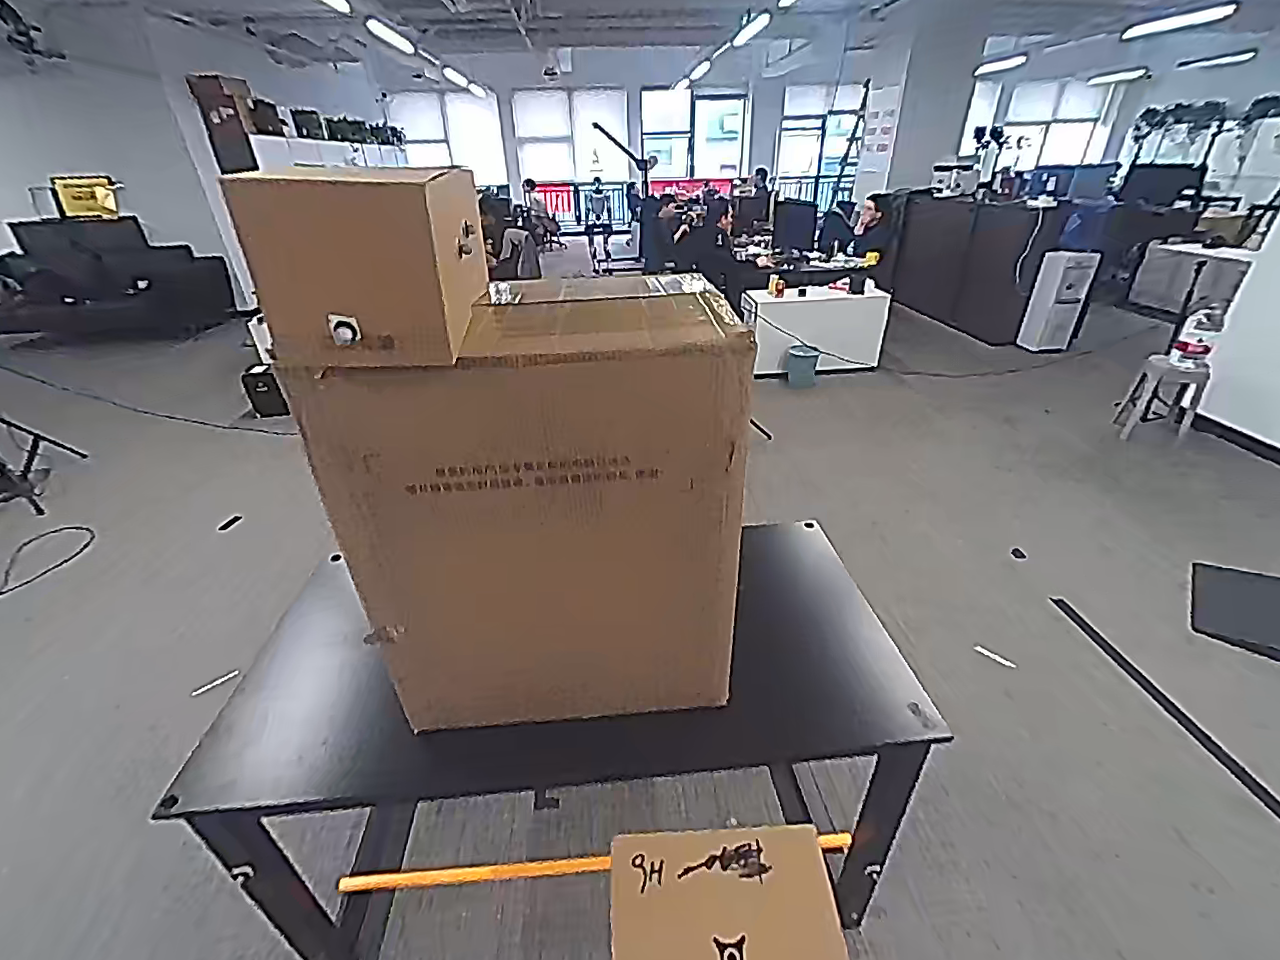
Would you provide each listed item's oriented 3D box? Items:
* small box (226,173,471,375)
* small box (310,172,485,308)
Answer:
[{"bbox_3d":[-0.279,-0.220,0.570,0.168,0.176,0.179,-5,34,-8],"label":"small box"},{"bbox_3d":[-0.316,-0.318,0.732,0.168,0.176,0.179,-2,30,-1],"label":"small box"}]
